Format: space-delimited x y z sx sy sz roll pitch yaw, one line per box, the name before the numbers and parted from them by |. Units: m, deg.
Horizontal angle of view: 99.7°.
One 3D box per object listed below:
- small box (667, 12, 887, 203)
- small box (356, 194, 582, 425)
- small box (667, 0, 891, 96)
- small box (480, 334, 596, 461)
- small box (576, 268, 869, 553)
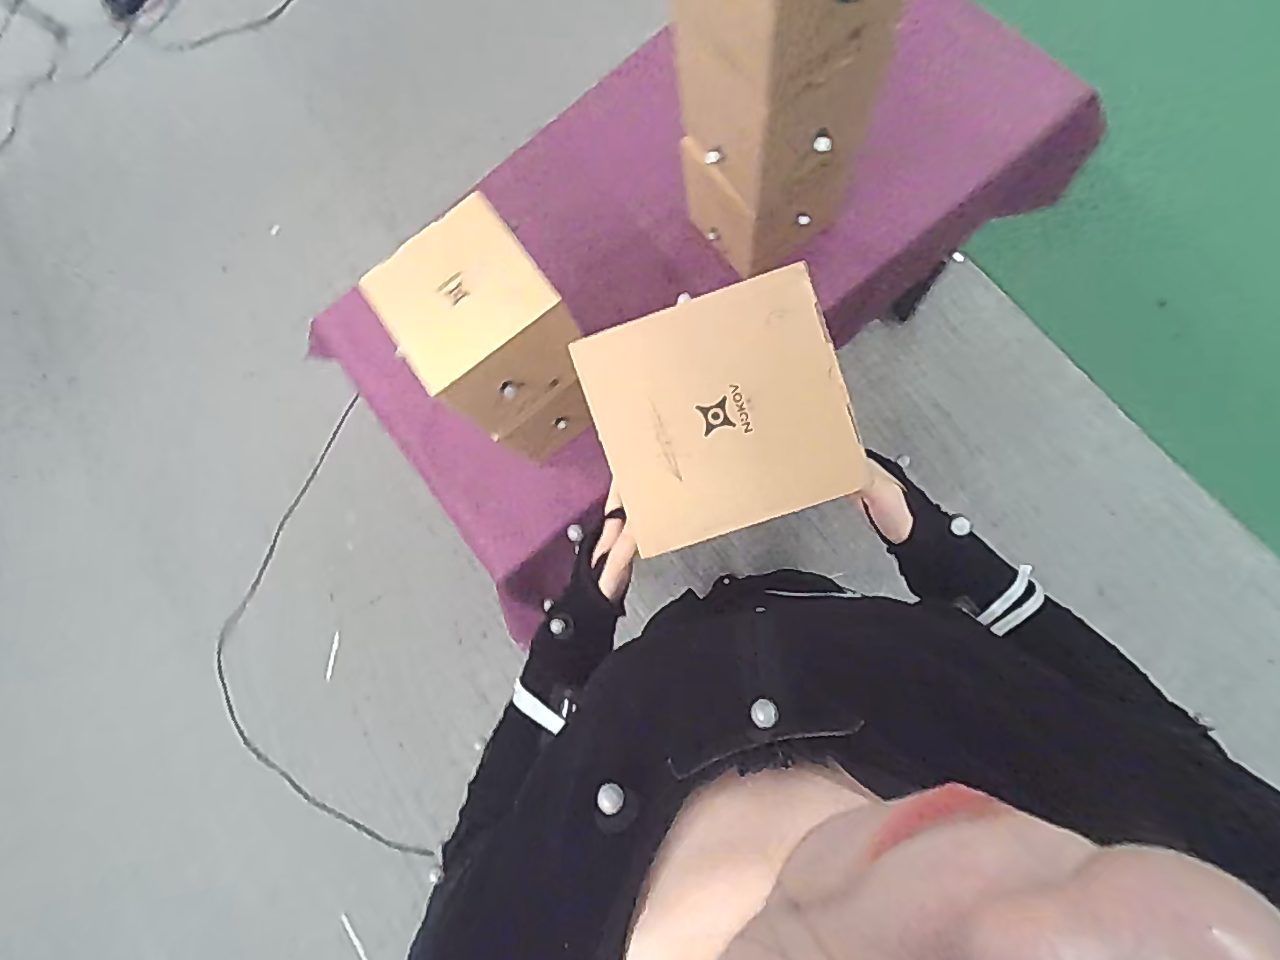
small box | 0.153 -0.470 0.647 0.168 0.176 0.179 -34 77 2
small box | -0.187 -0.185 0.649 0.168 0.176 0.179 -37 75 1
small box | 0.127 -0.497 0.485 0.168 0.176 0.179 -35 76 2
small box | -0.163 -0.152 0.806 0.179 0.176 0.168 -38 76 1
small box | 0.063 -0.053 0.465 0.179 0.176 0.168 -18 92 5
